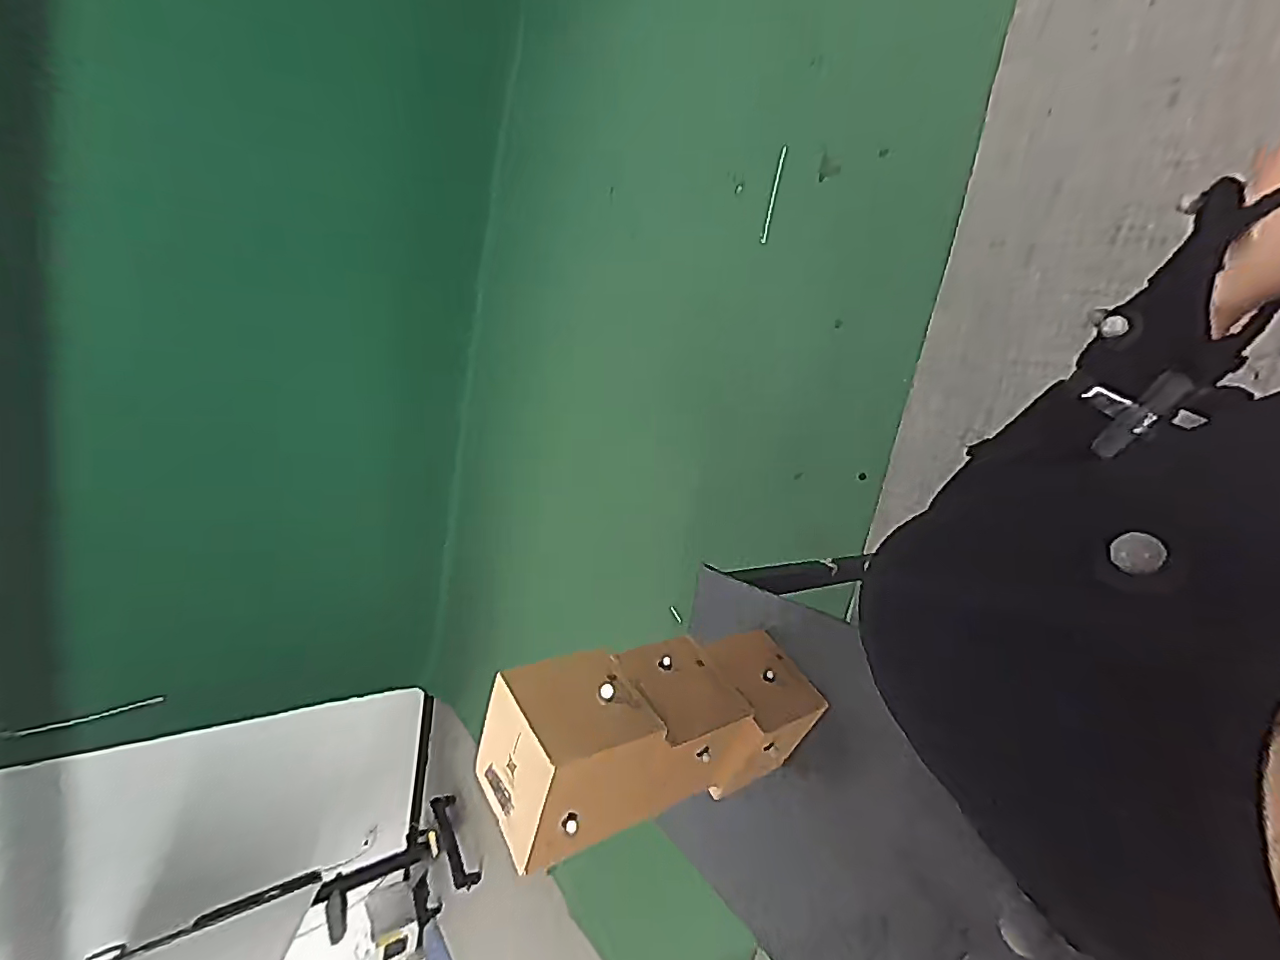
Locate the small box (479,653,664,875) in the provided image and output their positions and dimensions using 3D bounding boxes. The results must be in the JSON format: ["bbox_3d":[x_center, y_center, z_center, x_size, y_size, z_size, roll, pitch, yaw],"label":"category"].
[{"bbox_3d":[-0.092,0.358,0.714,0.168,0.176,0.179,35,115,46],"label":"small box"}]

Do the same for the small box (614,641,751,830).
[{"bbox_3d":[0.039,0.369,0.813,0.168,0.176,0.179,44,123,44],"label":"small box"}]

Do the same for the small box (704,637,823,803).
[{"bbox_3d":[0.174,0.387,0.903,0.168,0.176,0.179,49,126,40],"label":"small box"}]
